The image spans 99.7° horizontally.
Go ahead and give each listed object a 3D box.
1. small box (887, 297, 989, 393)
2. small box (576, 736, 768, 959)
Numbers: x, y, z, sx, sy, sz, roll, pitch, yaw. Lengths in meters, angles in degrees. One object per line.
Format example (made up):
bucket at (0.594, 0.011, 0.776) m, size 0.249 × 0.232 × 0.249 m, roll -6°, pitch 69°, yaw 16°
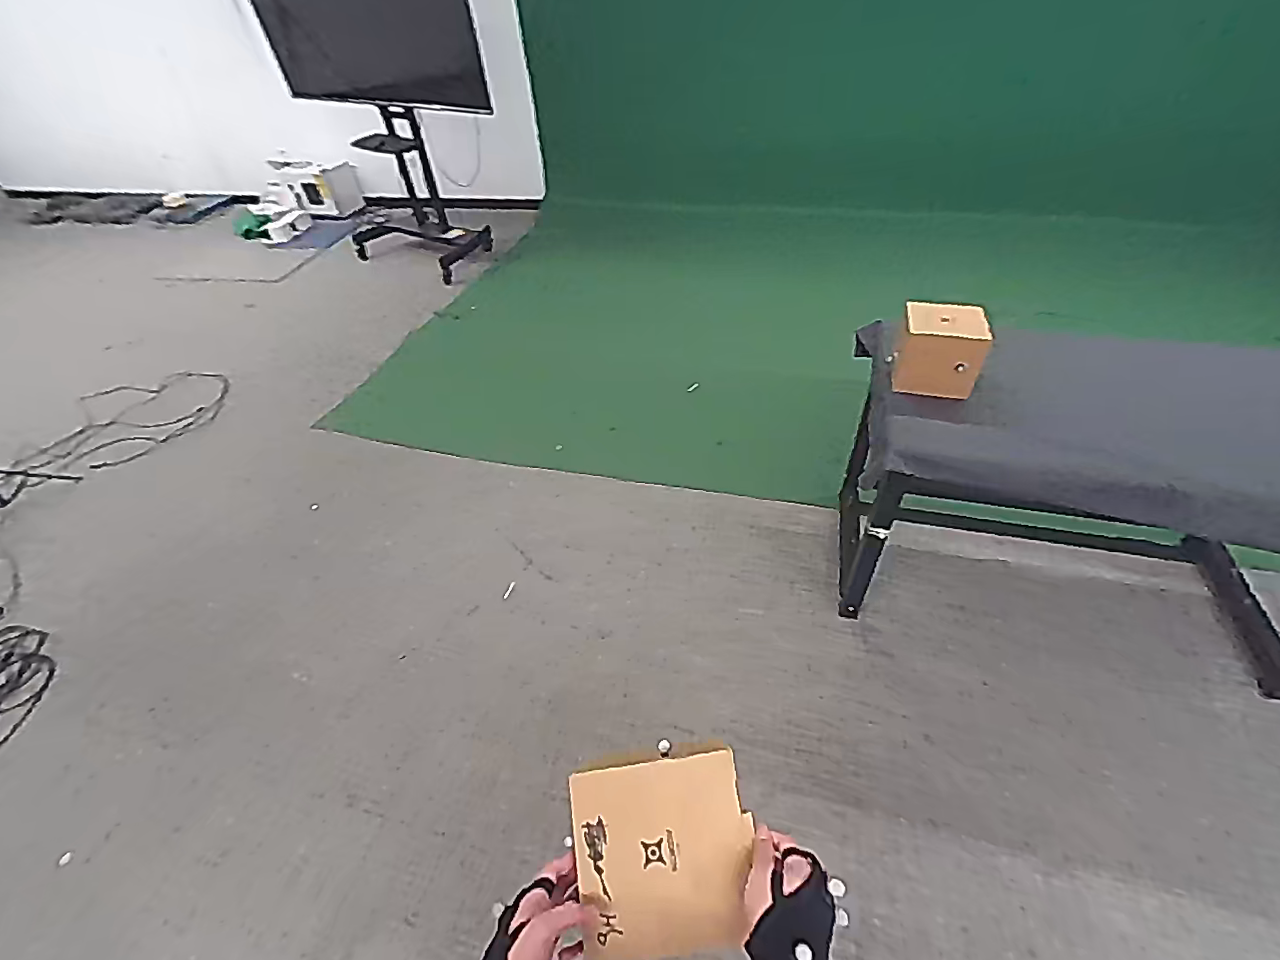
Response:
small box at (0.734, -0.334, 1.348) m, size 0.179 × 0.176 × 0.168 m, roll 11°, pitch 45°, yaw 15°
small box at (0.031, 0.399, 0.619) m, size 0.179 × 0.176 × 0.168 m, roll -9°, pitch 69°, yaw 0°
